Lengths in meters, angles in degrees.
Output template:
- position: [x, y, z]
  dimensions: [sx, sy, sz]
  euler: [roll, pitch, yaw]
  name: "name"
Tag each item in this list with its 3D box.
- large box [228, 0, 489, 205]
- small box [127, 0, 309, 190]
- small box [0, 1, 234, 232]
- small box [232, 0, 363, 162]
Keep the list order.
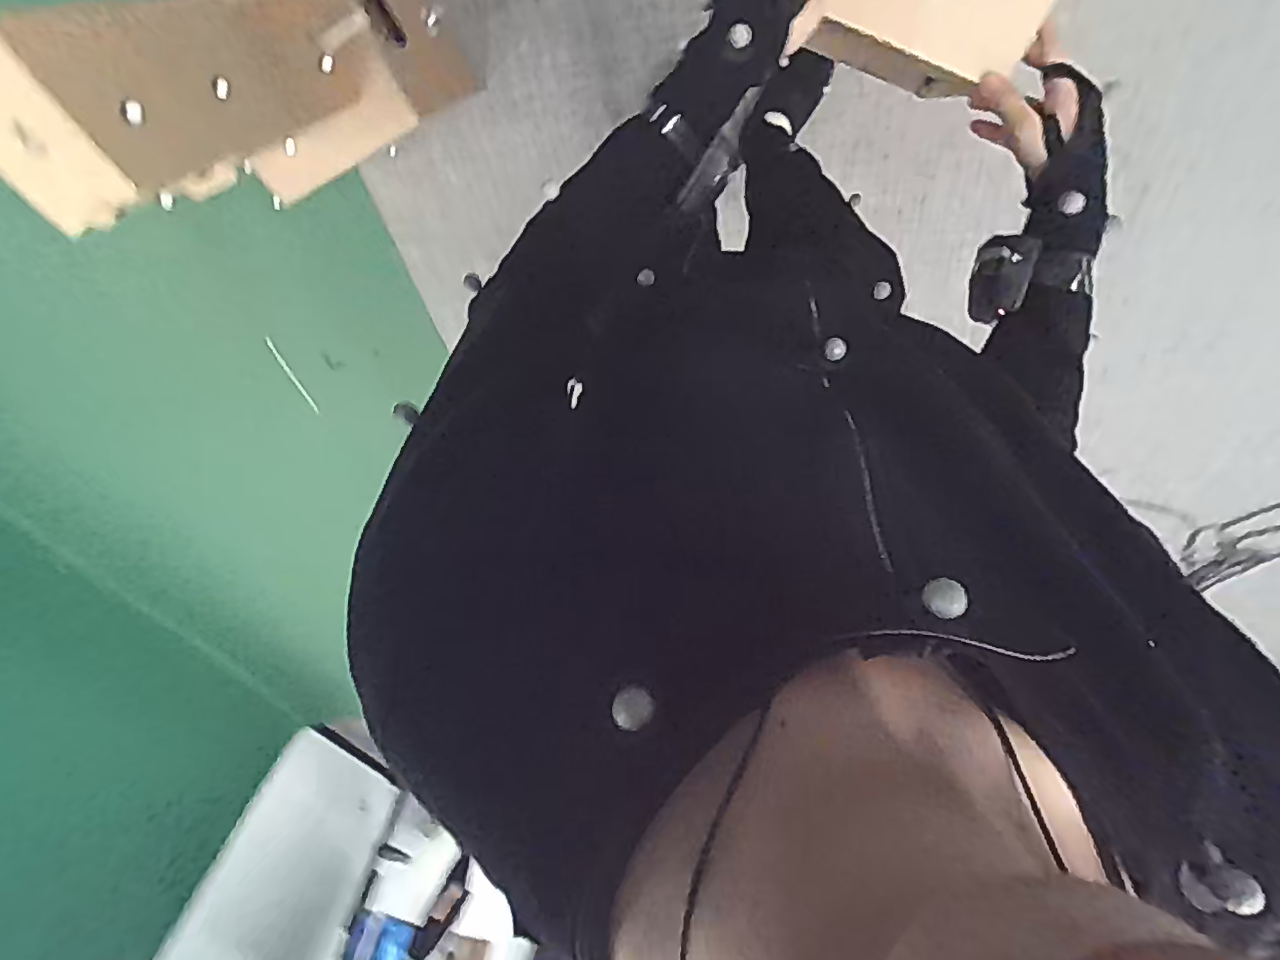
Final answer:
- position: [-0.593, -0.834, 1.089]
  dimensions: [0.408, 0.320, 0.320]
  euler: [-10, 129, 25]
  name: "large box"
- position: [-0.636, -0.561, 0.786]
  dimensions: [0.168, 0.176, 0.179]
  euler: [-7, 133, 21]
  name: "small box"
- position: [-0.670, -0.448, 0.672]
  dimensions: [0.168, 0.176, 0.179]
  euler: [-8, 133, 22]
  name: "small box"
- position: [-0.614, -0.670, 0.907]
  dimensions: [0.179, 0.176, 0.168]
  euler: [-9, 132, 22]
  name: "small box"
